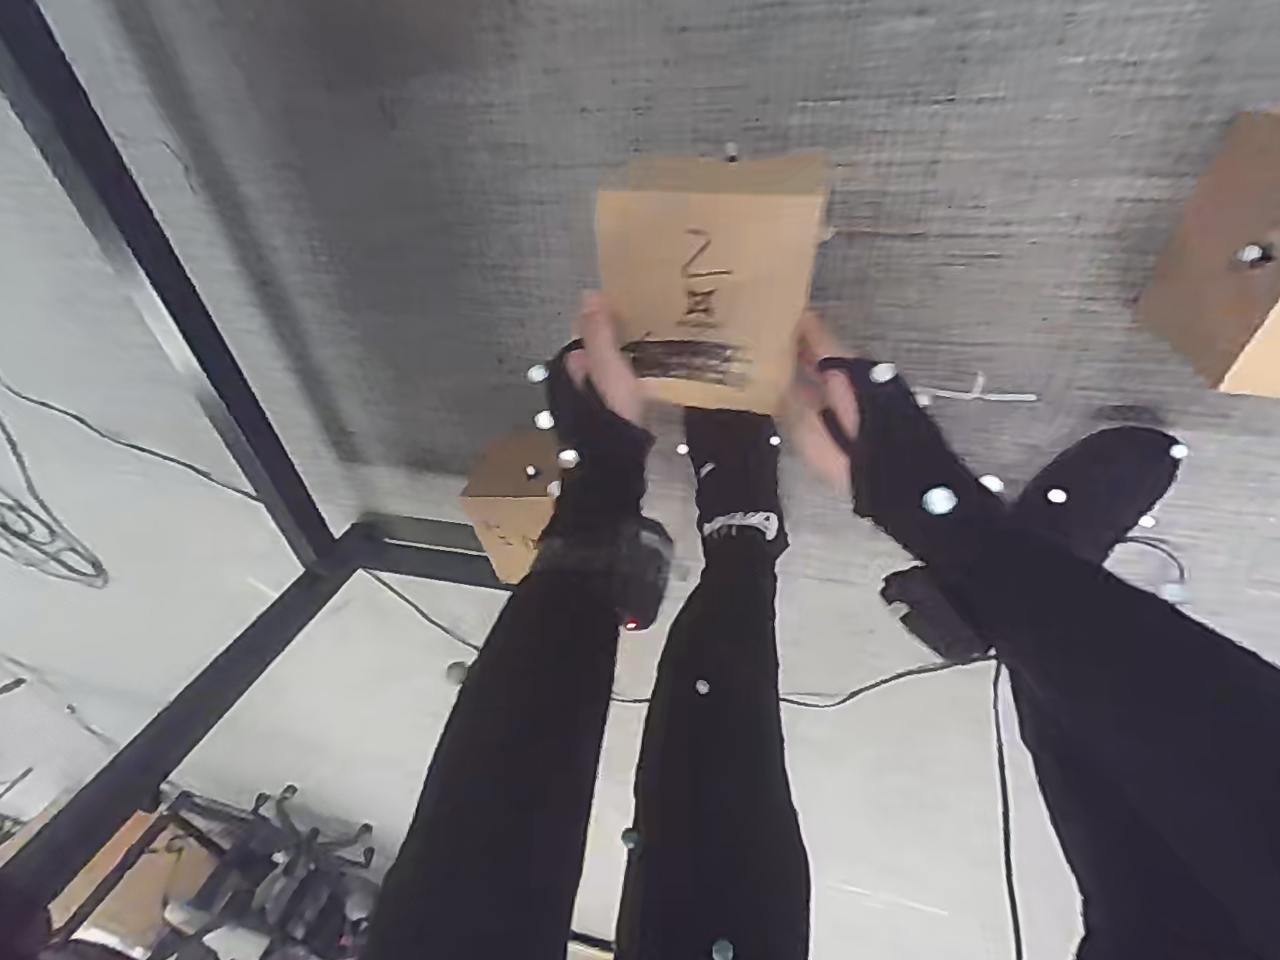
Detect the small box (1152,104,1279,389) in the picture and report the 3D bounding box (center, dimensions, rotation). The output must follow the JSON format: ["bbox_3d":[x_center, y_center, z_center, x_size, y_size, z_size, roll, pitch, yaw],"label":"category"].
[{"bbox_3d":[0.546,-0.175,0.402,0.168,0.176,0.179,9,128,13],"label":"small box"}]

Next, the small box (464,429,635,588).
[{"bbox_3d":[-0.115,0.037,0.786,0.179,0.176,0.168,-1,125,20],"label":"small box"}]
